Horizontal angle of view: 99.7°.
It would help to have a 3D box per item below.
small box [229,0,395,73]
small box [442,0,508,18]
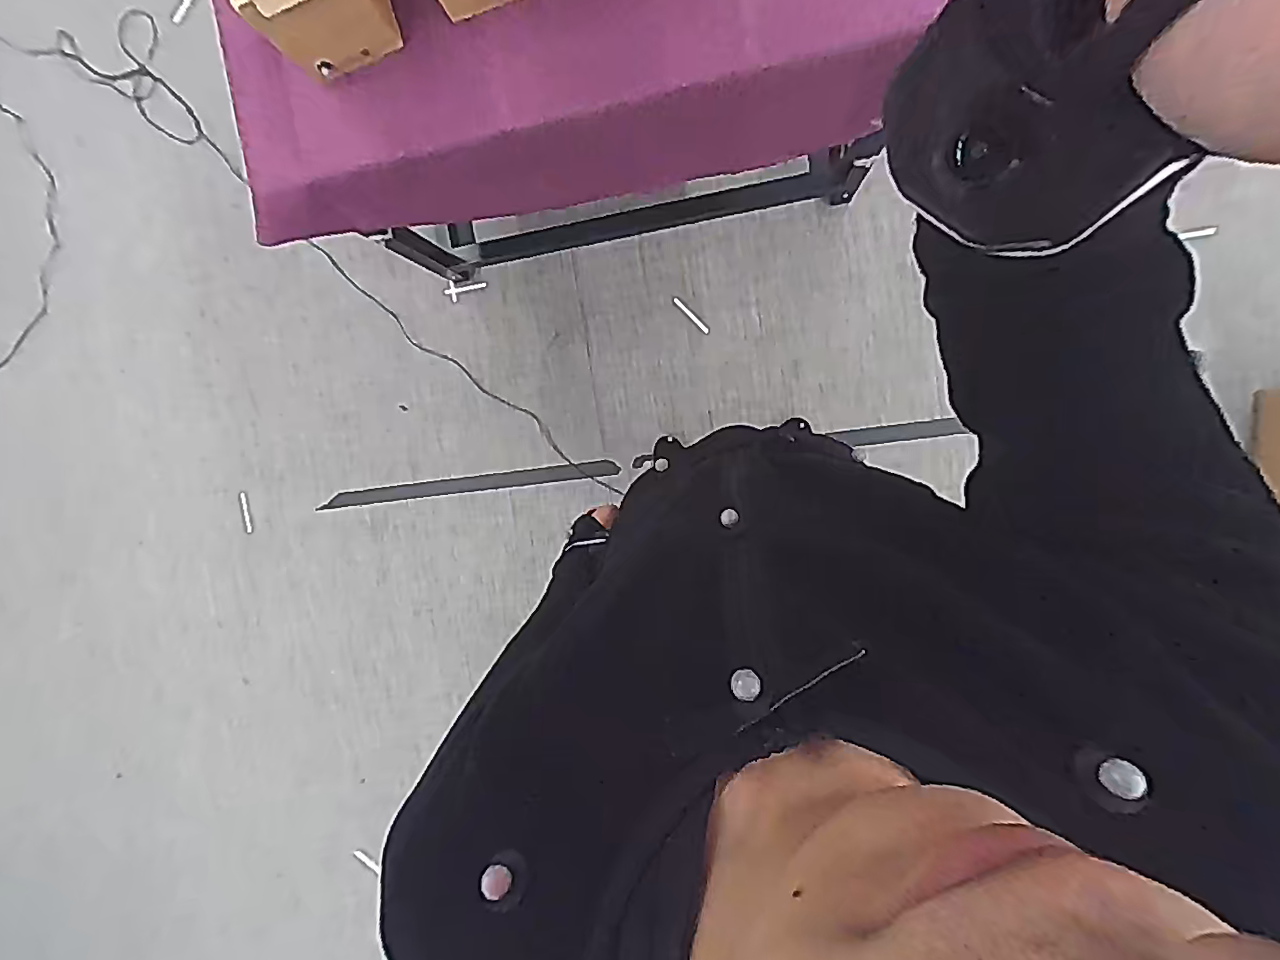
[{"bbox_3d":[-0.504,-0.764,0.815,0.168,0.176,0.179,-17,93,9],"label":"small box"},{"bbox_3d":[-0.259,-0.832,0.774,0.168,0.176,0.179,-12,94,9],"label":"small box"}]
